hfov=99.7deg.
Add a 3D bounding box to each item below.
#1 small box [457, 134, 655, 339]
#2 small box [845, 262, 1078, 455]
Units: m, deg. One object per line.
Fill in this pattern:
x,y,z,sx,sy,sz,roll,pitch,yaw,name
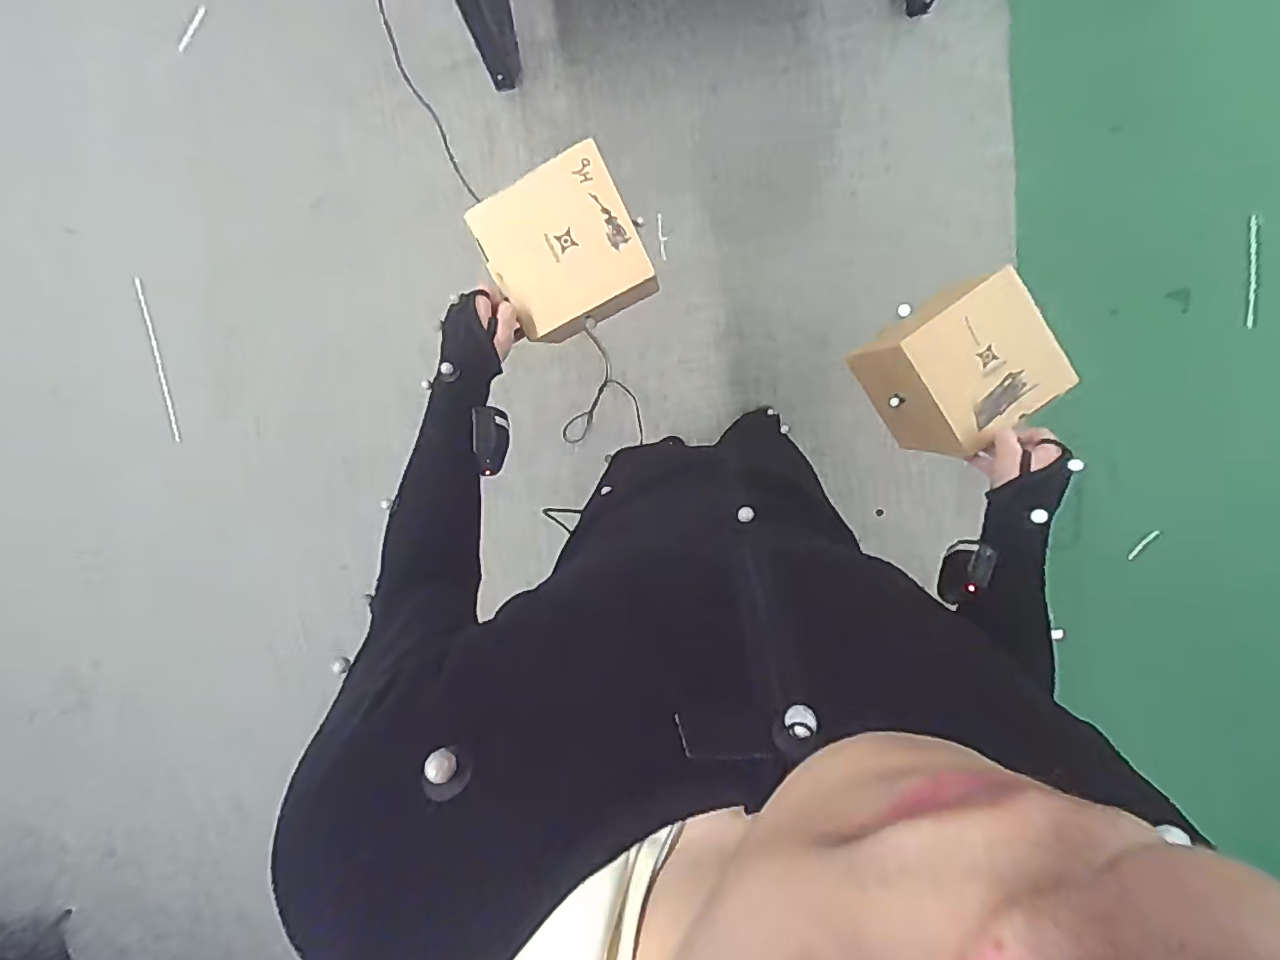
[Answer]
-0.093,-0.290,0.695,0.179,0.176,0.168,-25,100,10,small box
0.416,-0.155,0.729,0.168,0.176,0.179,-36,97,2,small box
